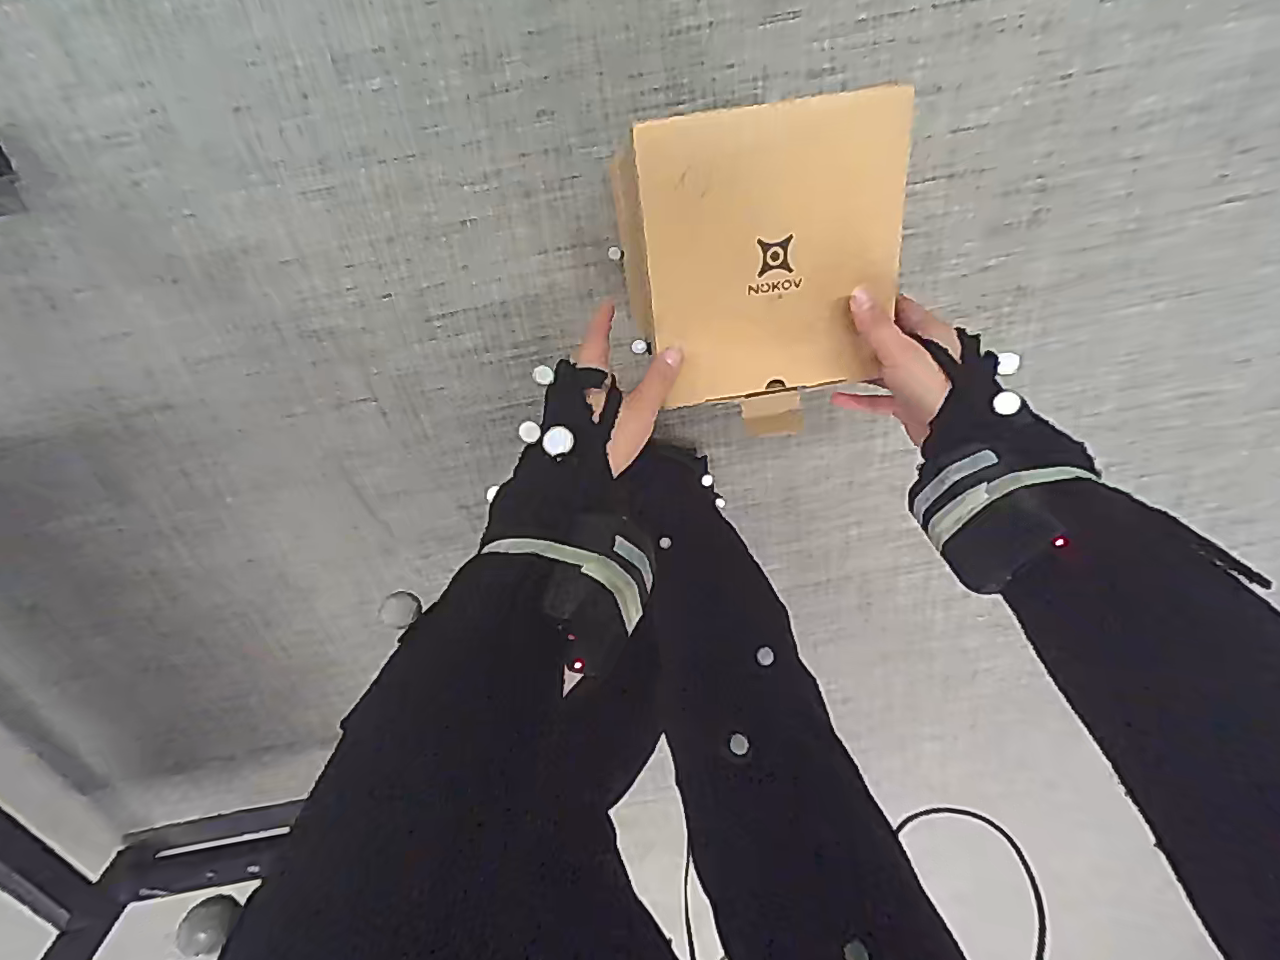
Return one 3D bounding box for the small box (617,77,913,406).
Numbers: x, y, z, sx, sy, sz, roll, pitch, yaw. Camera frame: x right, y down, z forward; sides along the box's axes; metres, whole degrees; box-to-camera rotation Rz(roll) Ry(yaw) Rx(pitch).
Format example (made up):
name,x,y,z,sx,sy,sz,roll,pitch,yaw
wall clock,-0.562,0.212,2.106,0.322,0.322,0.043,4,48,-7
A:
name,x,y,z,sx,sy,sz,roll,pitch,yaw
small box,0.077,-0.174,0.411,0.168,0.176,0.179,-9,118,-1
